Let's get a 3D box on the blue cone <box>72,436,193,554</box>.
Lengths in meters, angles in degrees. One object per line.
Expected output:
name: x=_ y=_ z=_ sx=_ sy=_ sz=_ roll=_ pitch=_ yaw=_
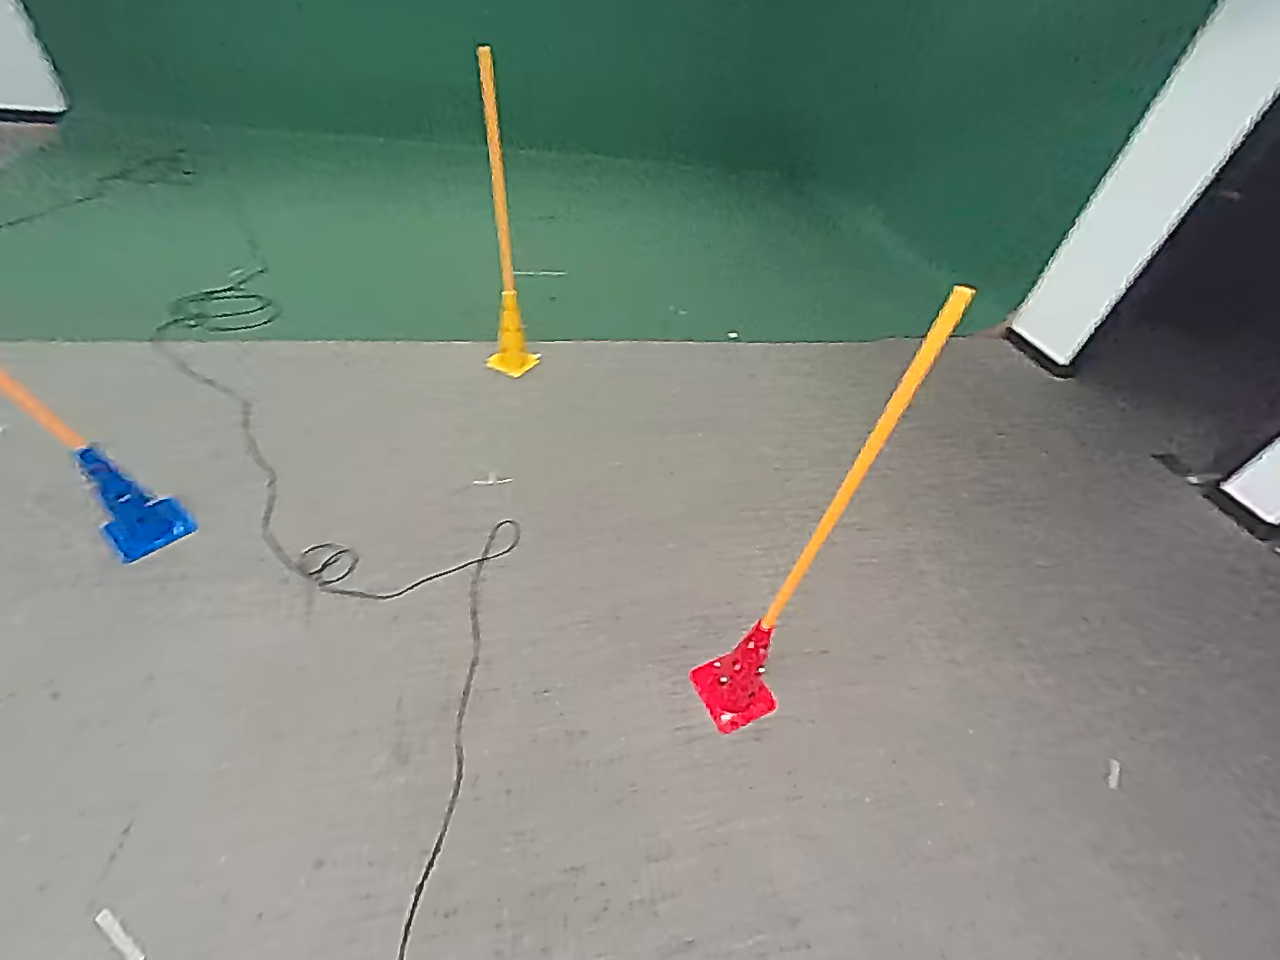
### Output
blue cone: x=-1.521 y=0.027 z=1.583 sx=0.192 sy=0.380 sz=0.193 roll=33 pitch=51 yaw=21
